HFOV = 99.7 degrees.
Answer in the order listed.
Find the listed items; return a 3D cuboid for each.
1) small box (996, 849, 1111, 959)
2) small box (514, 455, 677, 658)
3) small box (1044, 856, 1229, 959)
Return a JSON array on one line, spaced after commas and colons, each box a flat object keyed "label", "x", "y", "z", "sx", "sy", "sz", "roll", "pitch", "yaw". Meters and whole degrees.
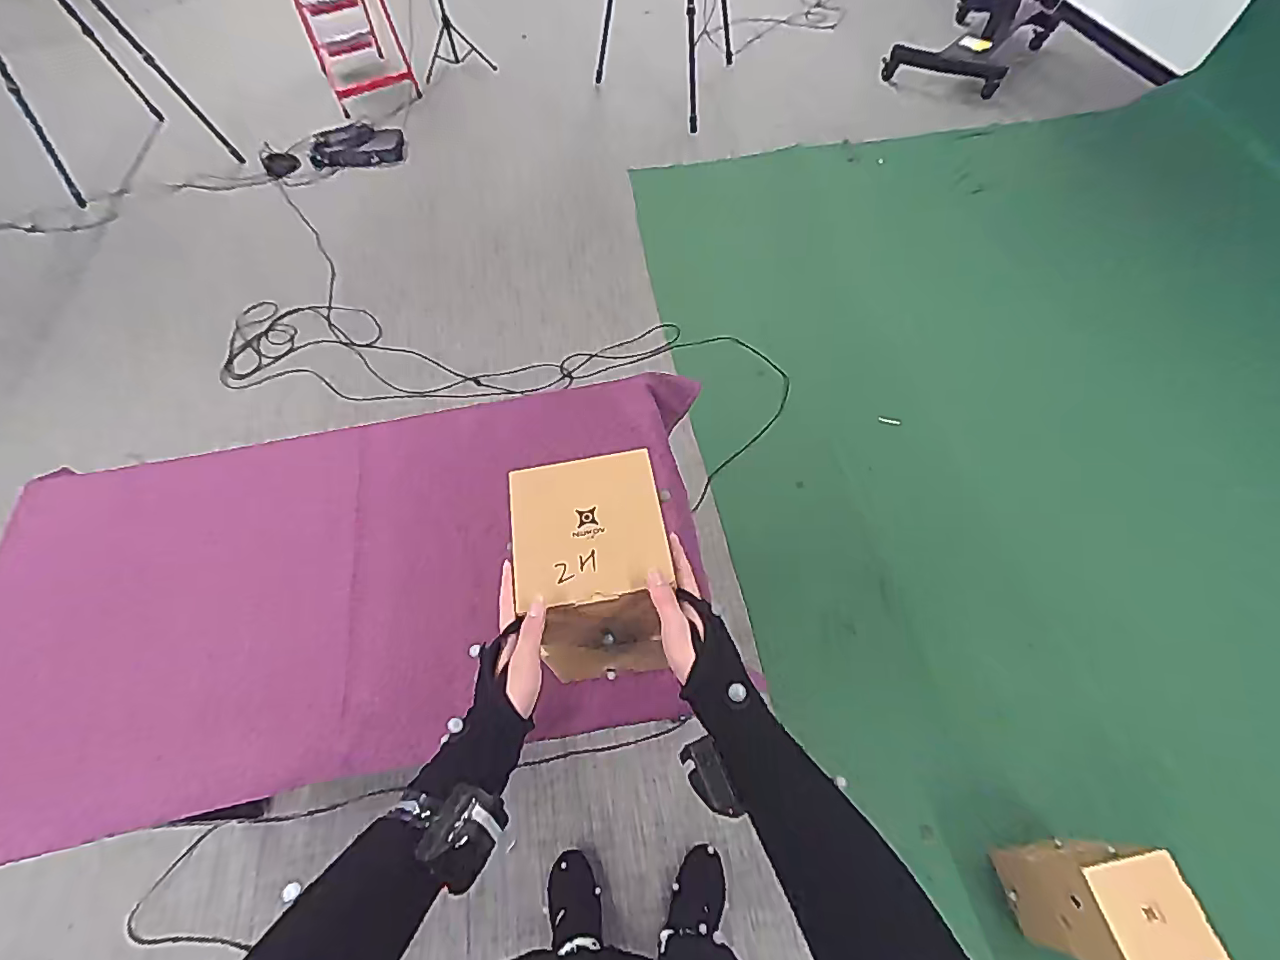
[{"label": "small box", "x": 0.920, "y": 0.909, "z": 1.160, "sx": 0.179, "sy": 0.176, "sz": 0.168, "roll": -10, "pitch": 58, "yaw": -2}, {"label": "small box", "x": -0.051, "y": 0.096, "z": 0.653, "sx": 0.168, "sy": 0.176, "sz": 0.179, "roll": -10, "pitch": 58, "yaw": -2}, {"label": "small box", "x": 0.915, "y": 0.828, "z": 1.021, "sx": 0.179, "sy": 0.176, "sz": 0.168, "roll": -9, "pitch": 58, "yaw": -4}]
